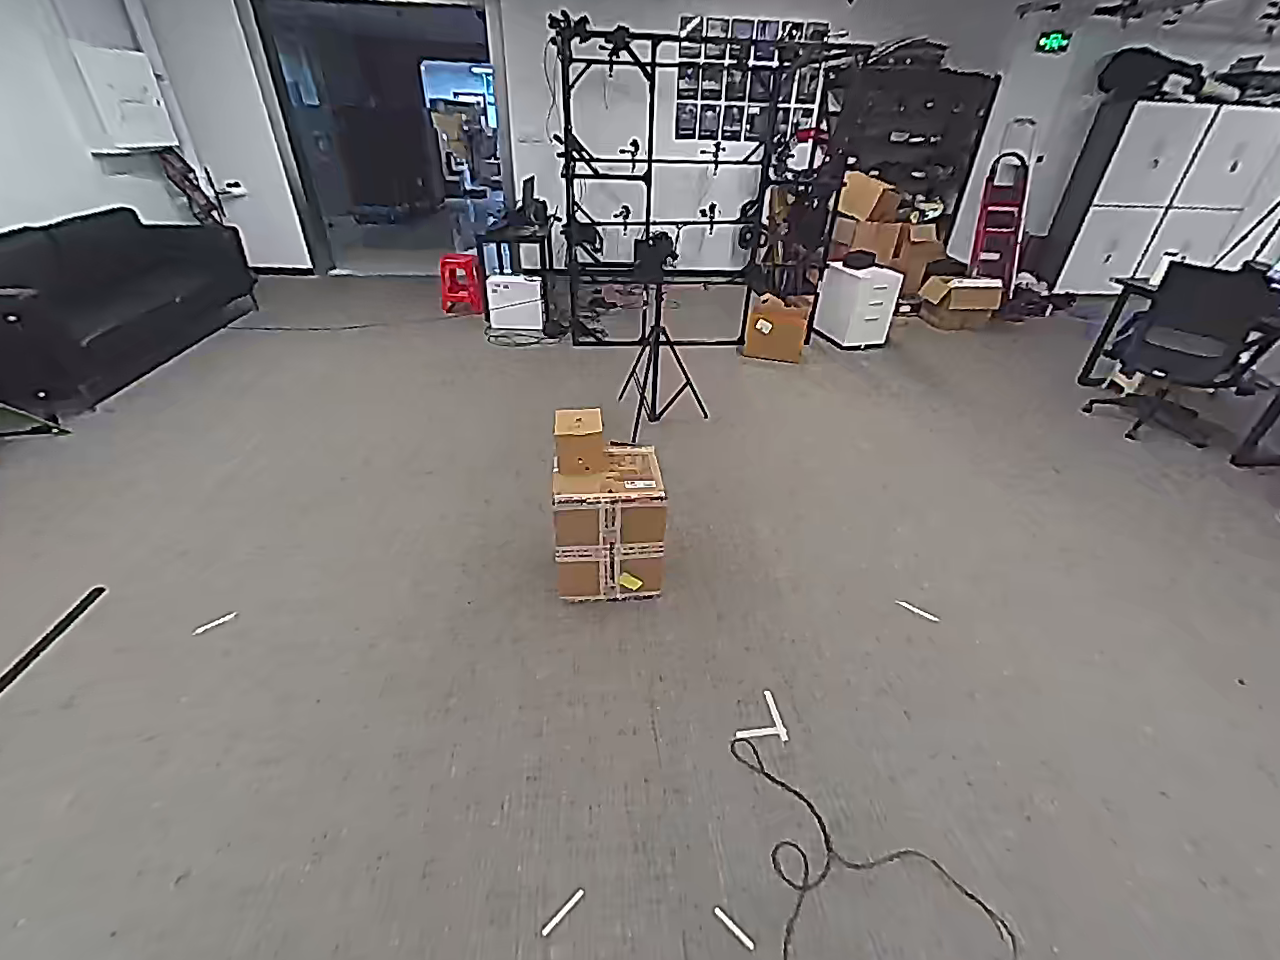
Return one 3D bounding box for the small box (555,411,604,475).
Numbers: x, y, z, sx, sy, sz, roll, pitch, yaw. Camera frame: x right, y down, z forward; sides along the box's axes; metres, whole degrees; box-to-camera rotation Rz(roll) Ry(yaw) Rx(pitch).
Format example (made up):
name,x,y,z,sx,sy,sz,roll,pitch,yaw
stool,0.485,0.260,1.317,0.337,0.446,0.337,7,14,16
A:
name,x,y,z,sx,sy,sz,roll,pitch,yaw
small box,-0.219,-0.136,1.964,0.168,0.176,0.179,-4,37,-5
